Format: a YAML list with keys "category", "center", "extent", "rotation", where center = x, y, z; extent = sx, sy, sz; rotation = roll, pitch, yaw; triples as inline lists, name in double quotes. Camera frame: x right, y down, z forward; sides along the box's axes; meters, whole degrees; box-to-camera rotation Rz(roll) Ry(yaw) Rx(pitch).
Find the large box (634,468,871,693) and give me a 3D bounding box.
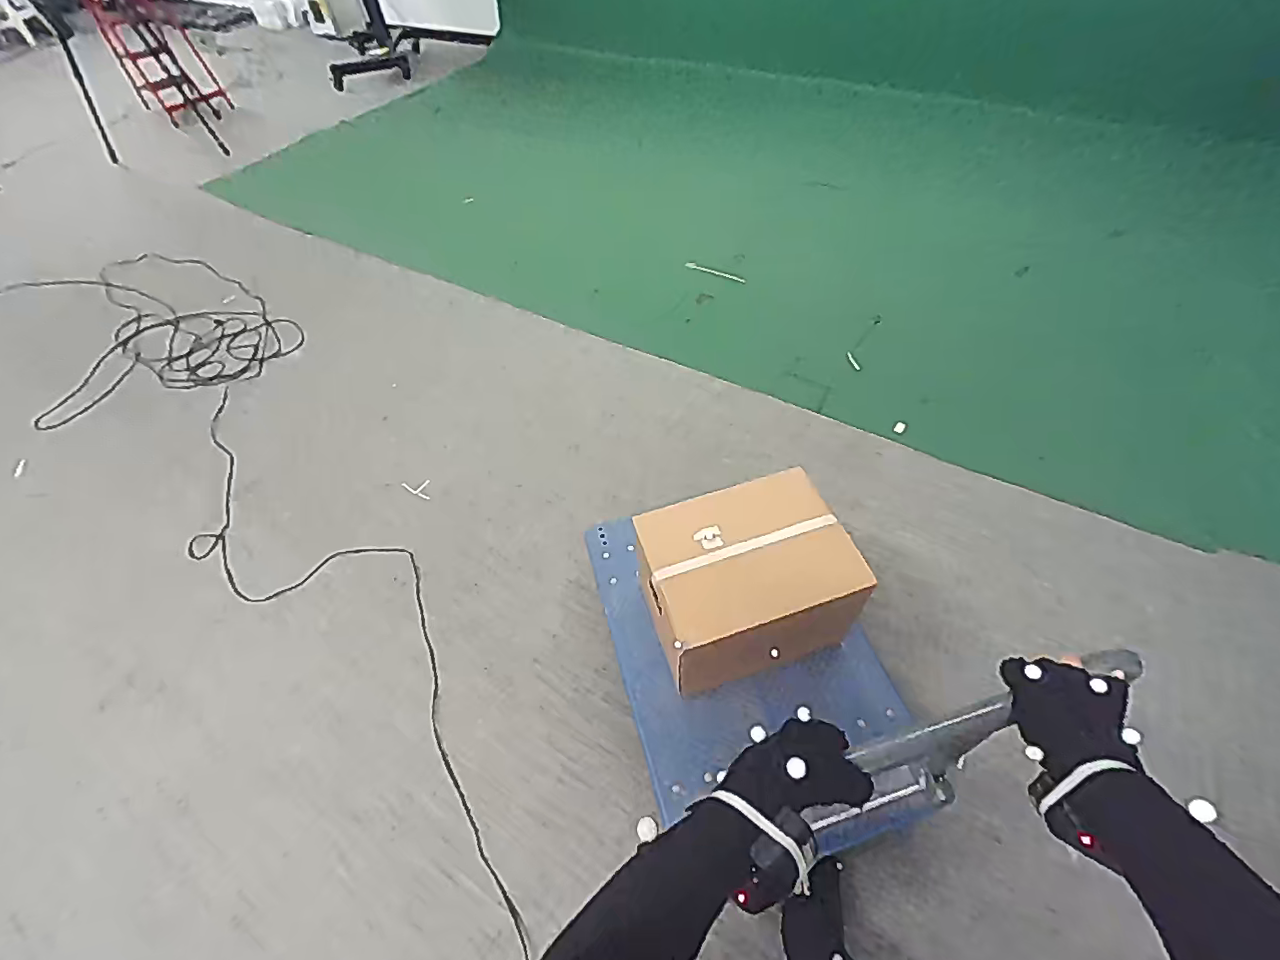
- category: "large box"
  center: [0.230, 0.233, 1.229]
  extent: [0.408, 0.320, 0.320]
  rotation: [-17, 53, -8]
